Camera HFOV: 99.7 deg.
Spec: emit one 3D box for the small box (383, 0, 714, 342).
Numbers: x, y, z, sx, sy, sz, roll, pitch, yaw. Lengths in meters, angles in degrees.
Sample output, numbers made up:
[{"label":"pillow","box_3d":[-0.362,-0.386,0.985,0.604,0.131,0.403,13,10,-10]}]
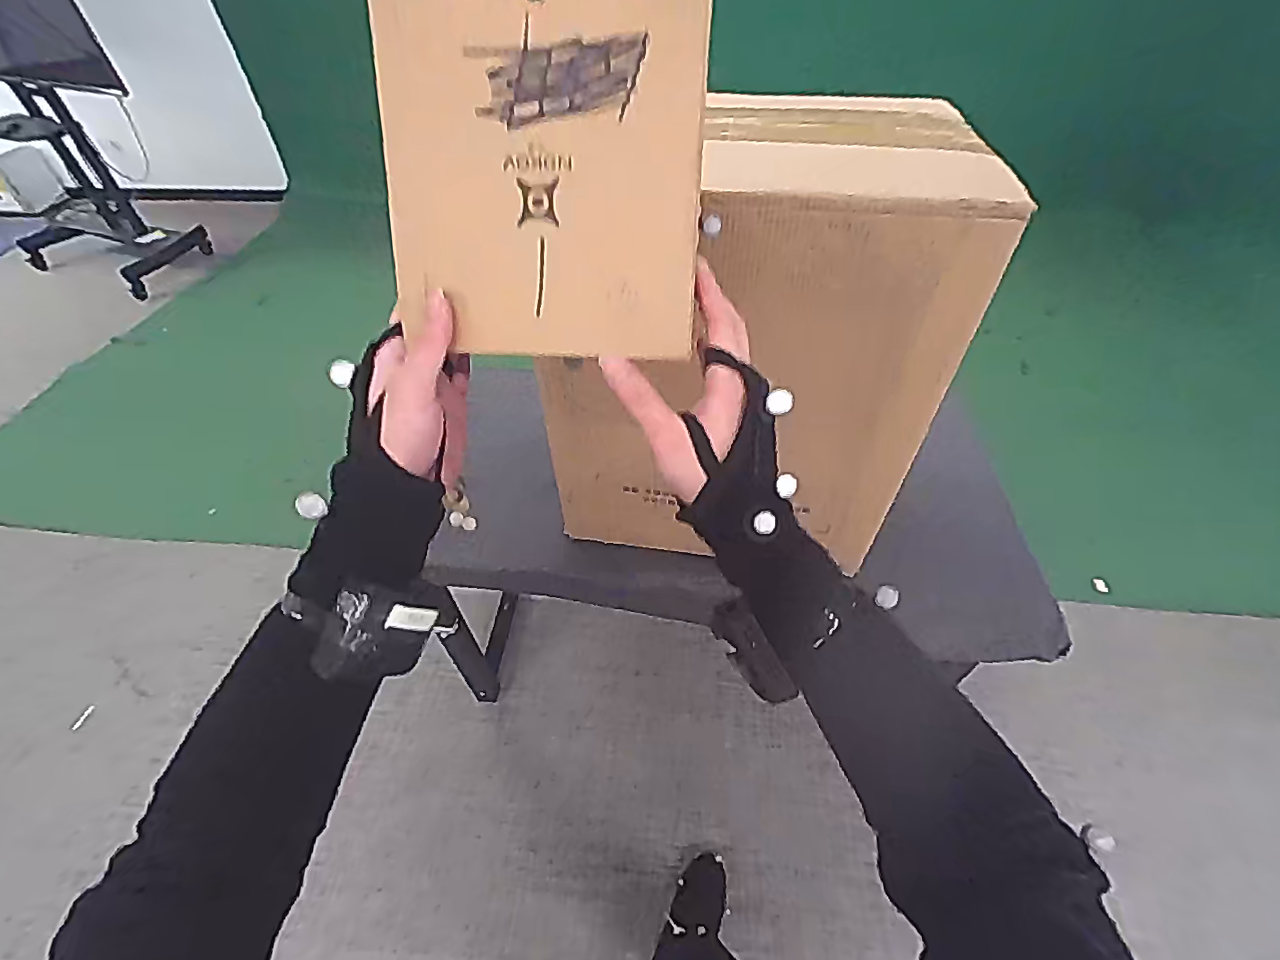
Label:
[{"label":"small box","box_3d":[-0.044,-0.188,0.360,0.168,0.179,0.176,4,17,4]}]
